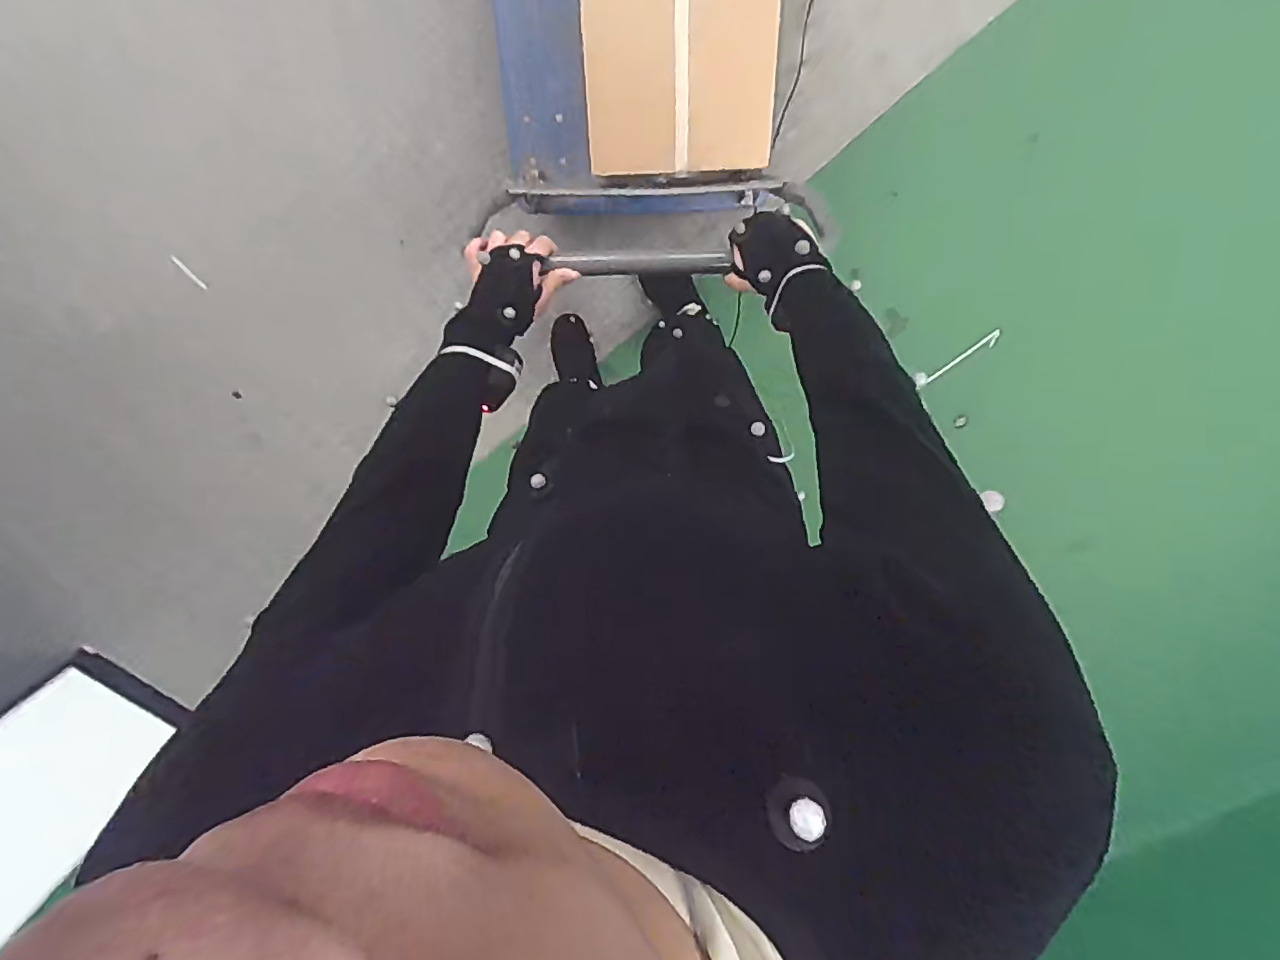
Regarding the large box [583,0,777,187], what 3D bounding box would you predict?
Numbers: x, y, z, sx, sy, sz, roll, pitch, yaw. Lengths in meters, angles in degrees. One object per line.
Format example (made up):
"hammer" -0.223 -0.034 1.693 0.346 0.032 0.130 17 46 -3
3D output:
"large box" 0.068 -0.785 1.011 0.320 0.320 0.408 -2 118 1
